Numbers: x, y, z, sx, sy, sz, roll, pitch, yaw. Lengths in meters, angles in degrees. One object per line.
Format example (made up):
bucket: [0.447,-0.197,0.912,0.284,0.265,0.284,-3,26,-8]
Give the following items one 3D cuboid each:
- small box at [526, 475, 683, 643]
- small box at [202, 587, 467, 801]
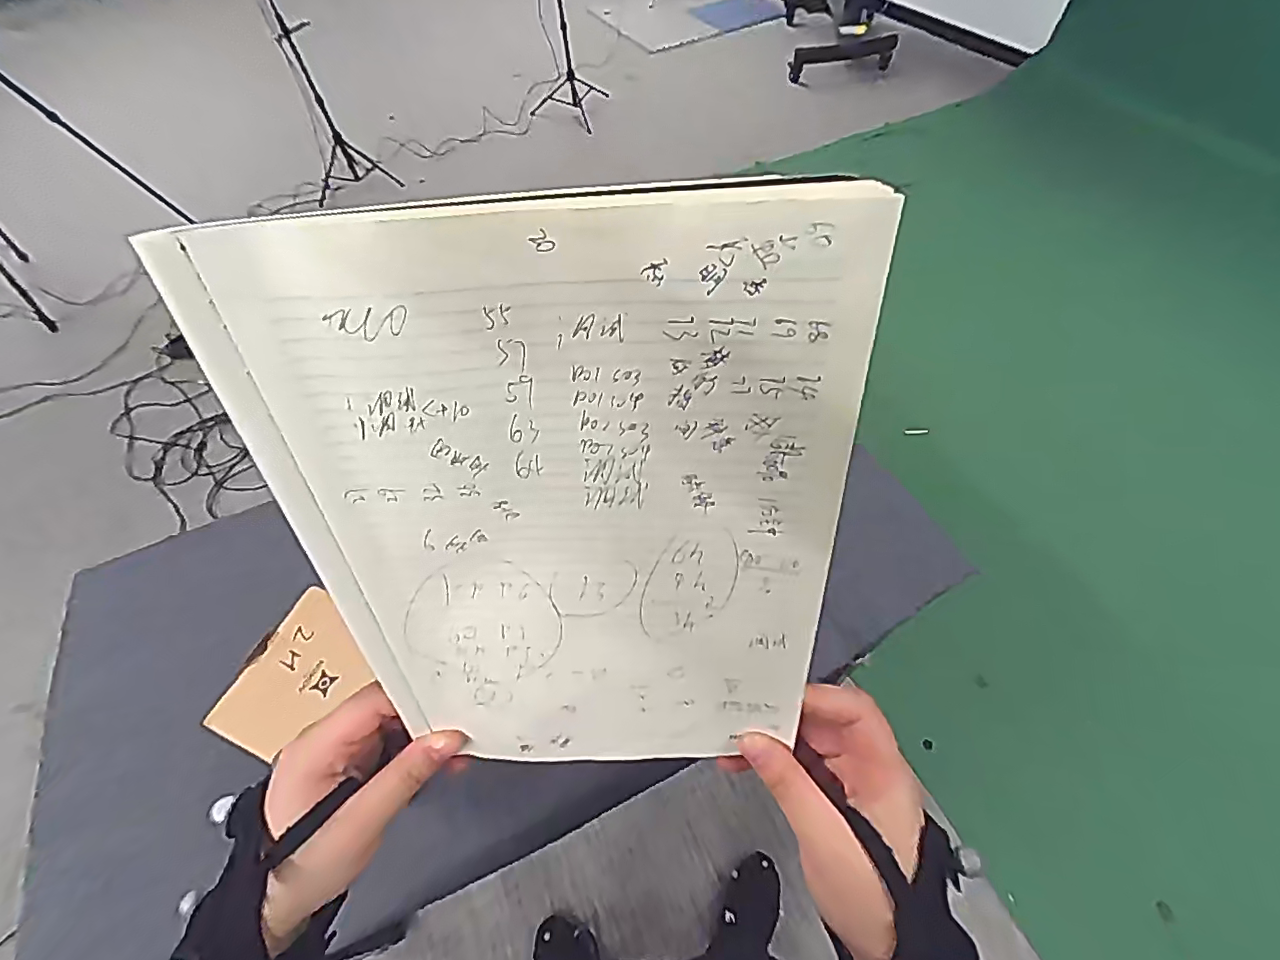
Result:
small box: [-0.033,0.108,0.711,0.179,0.176,0.168,0,56,6]
small box: [-0.334,0.255,0.635,0.179,0.176,0.168,17,58,16]
